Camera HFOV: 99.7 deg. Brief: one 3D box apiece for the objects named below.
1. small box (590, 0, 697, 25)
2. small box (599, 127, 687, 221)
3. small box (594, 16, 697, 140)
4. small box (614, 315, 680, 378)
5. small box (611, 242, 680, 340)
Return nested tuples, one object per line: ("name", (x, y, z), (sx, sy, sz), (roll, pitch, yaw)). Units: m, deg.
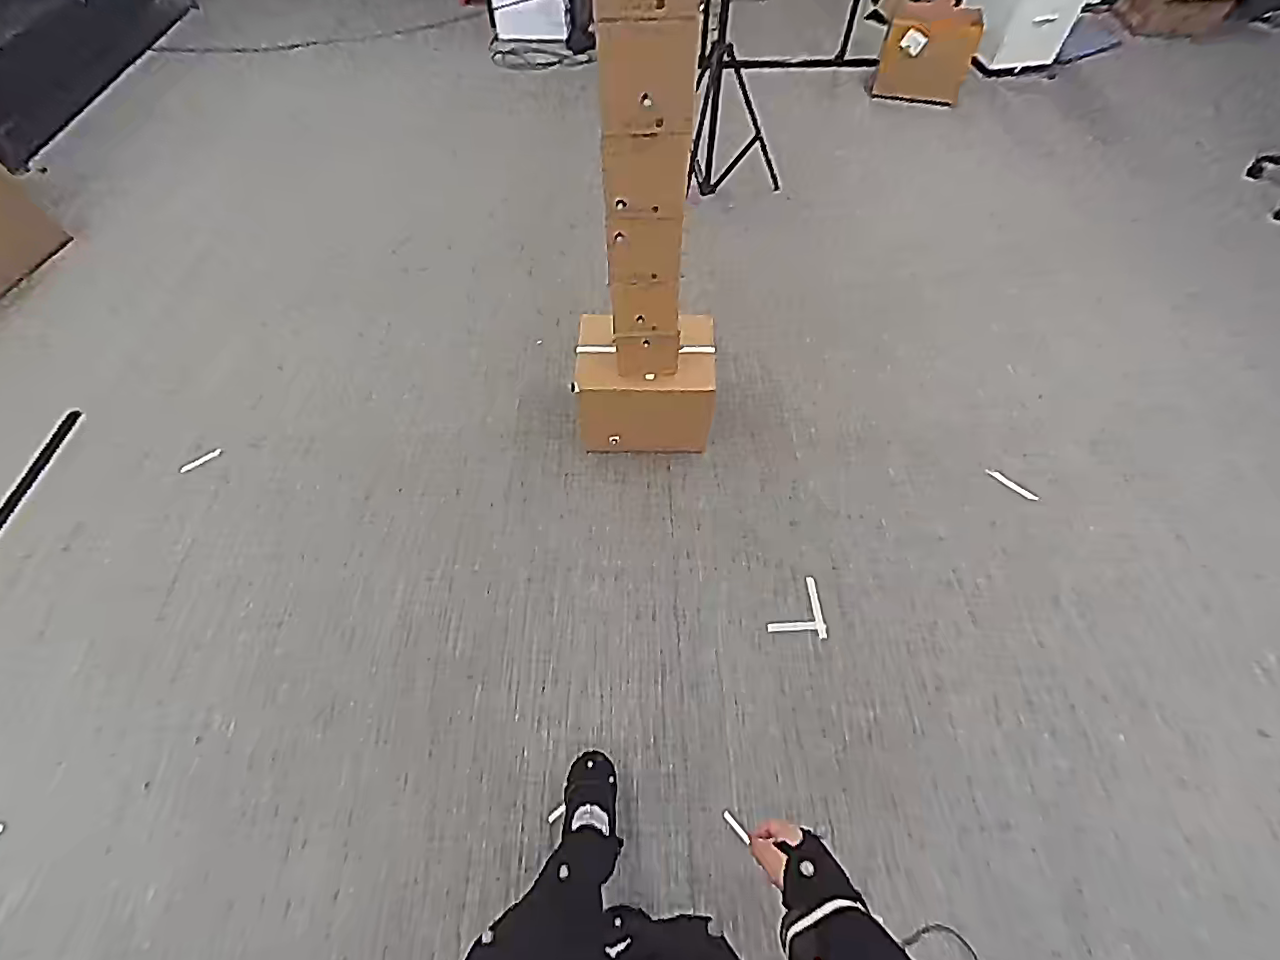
("small box", (0.003, -0.822, 0.820), (0.168, 0.176, 0.179), (-3, 60, -1))
("small box", (0.010, -0.650, 1.099), (0.168, 0.176, 0.179), (1, 58, 1))
("small box", (0.008, -0.734, 0.958), (0.168, 0.176, 0.179), (-2, 59, 0))
("small box", (0.018, -0.402, 1.522), (0.179, 0.176, 0.168), (-1, 59, -1))
("small box", (0.012, -0.481, 1.380), (0.168, 0.176, 0.179), (-1, 59, 0))
